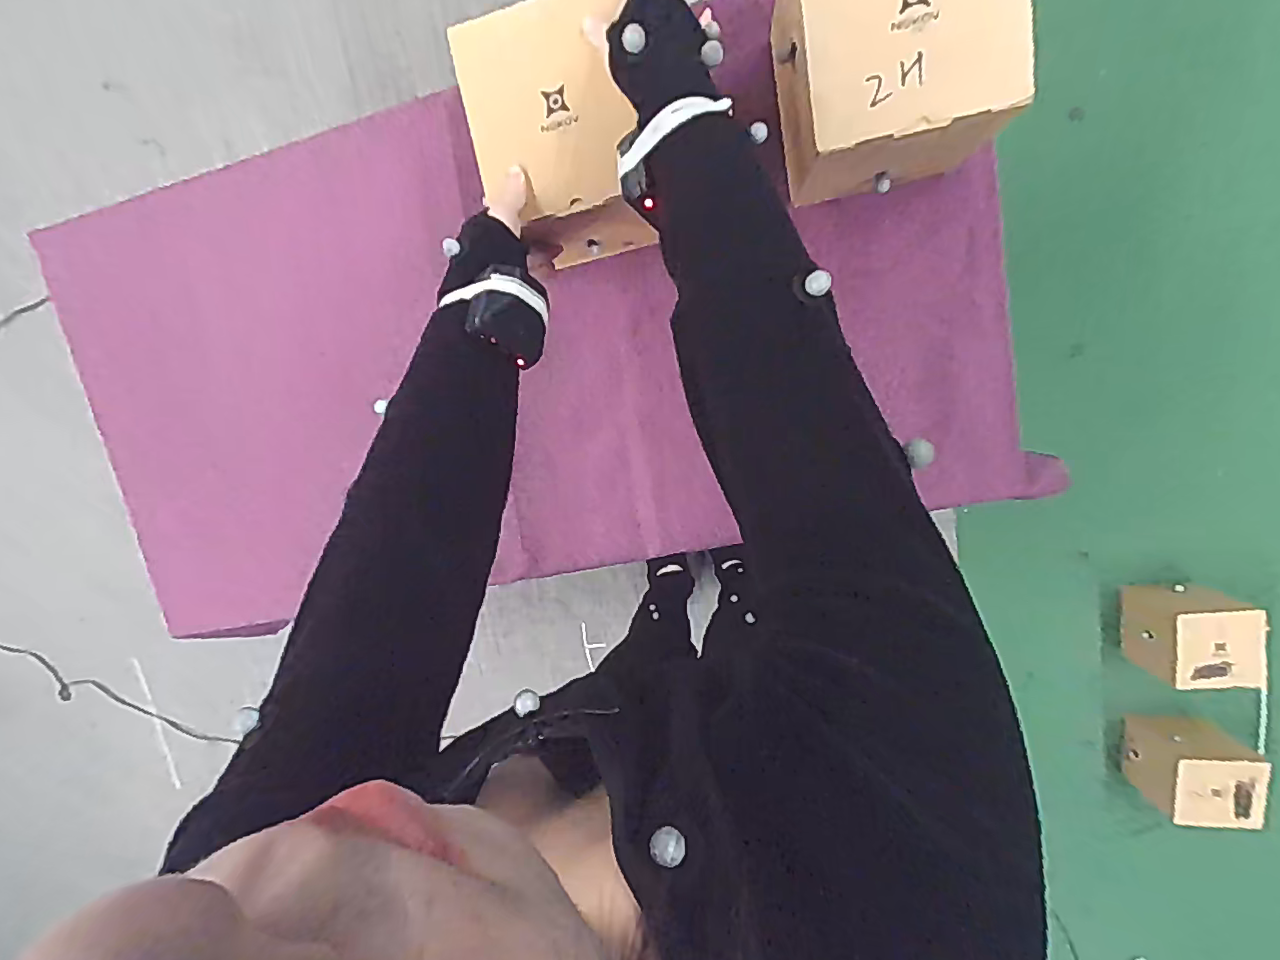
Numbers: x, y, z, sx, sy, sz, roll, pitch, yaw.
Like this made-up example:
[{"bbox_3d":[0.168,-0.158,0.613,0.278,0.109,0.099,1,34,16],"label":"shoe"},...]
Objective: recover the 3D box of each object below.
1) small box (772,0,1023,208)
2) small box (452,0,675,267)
[{"bbox_3d":[0.219,-0.379,0.499,0.168,0.176,0.179,-8,101,11],"label":"small box"},{"bbox_3d":[-0.062,-0.340,0.554,0.168,0.176,0.179,-10,99,10],"label":"small box"}]
